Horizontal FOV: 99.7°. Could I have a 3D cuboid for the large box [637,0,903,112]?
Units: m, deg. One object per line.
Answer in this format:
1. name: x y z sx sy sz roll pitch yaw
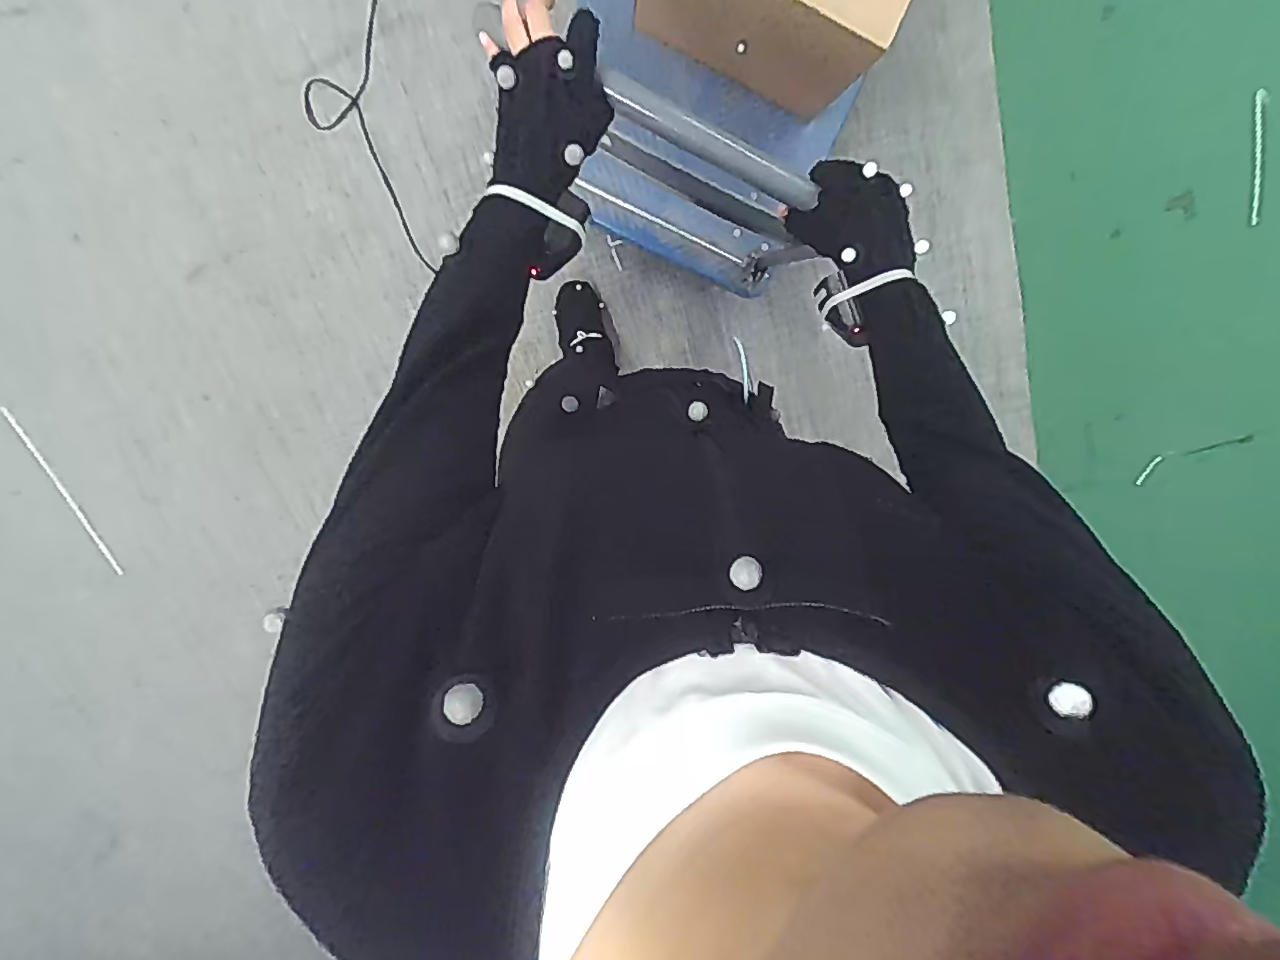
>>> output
1. large box: 0.240 -0.915 0.911 0.408 0.320 0.320 21 103 -10
